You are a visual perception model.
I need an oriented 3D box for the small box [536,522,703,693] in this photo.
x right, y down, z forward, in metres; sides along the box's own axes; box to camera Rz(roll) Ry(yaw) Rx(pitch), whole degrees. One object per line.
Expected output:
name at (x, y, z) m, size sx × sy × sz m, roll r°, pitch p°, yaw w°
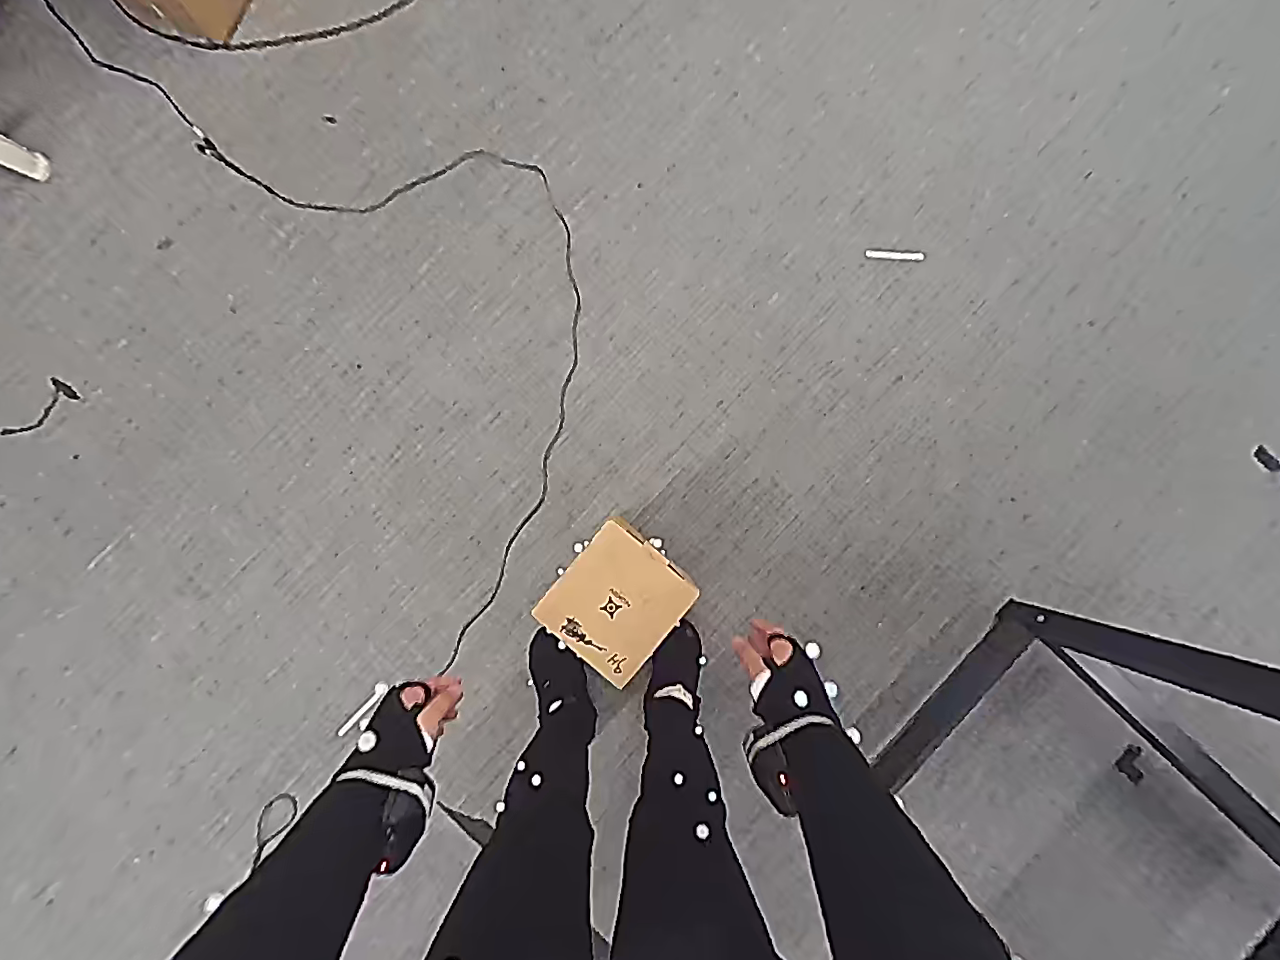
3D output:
small box at (-0.031, 0.179, 0.820) m, size 0.168 × 0.176 × 0.179 m, roll 40°, pitch 86°, yaw 3°
